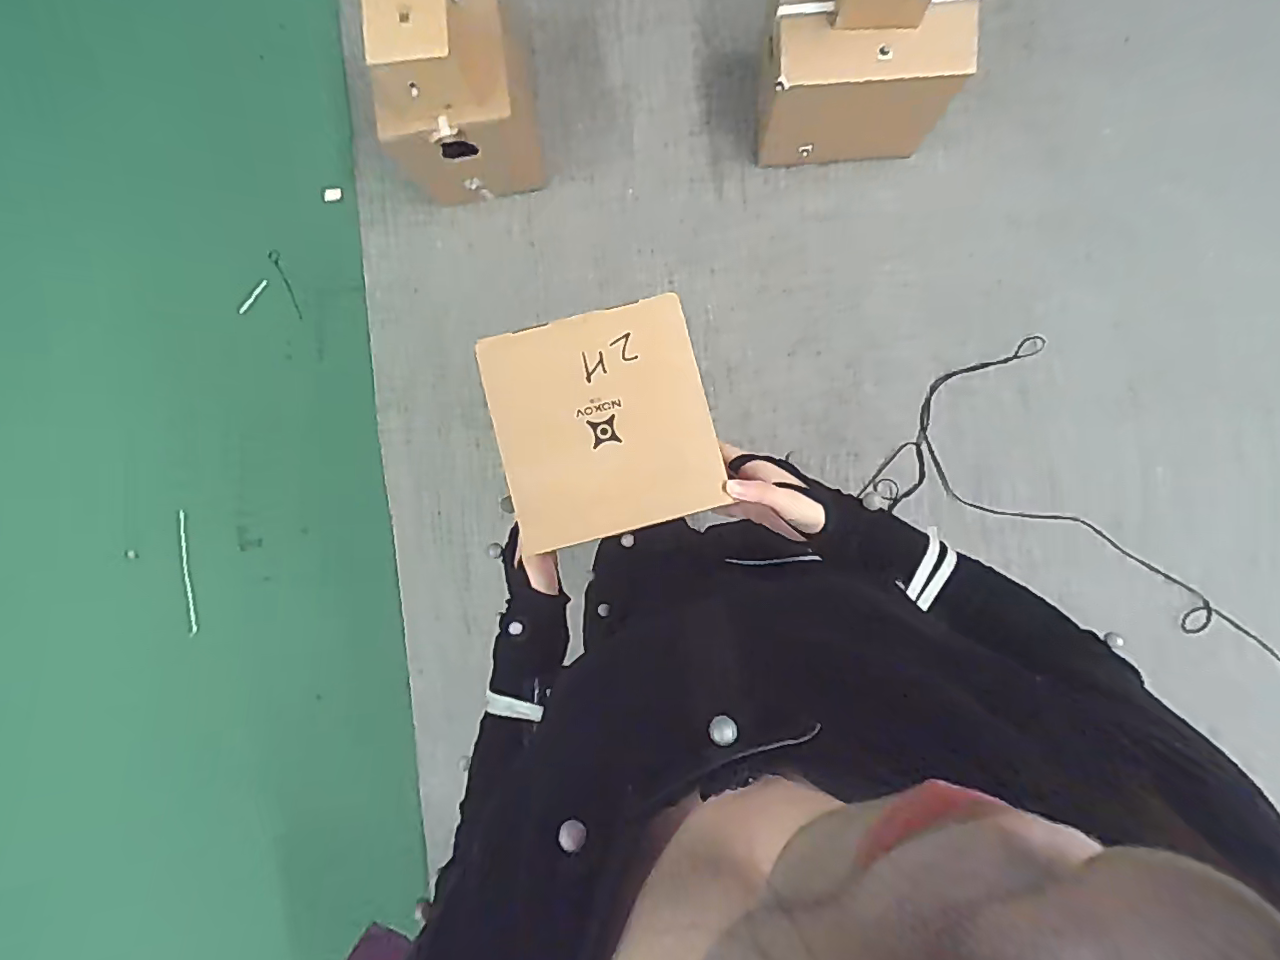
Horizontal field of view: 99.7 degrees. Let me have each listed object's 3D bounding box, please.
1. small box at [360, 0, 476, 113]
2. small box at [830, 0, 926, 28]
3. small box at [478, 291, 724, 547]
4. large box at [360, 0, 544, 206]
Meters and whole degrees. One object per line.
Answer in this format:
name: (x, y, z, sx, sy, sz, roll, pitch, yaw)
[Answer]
small box: (-0.446, -0.888, 1.108, 0.168, 0.176, 0.179, -3, 90, 4)
small box: (0.479, -1.013, 1.034, 0.179, 0.176, 0.168, 3, 89, 5)
small box: (-0.032, -0.044, 0.499, 0.168, 0.176, 0.179, -12, 86, -3)
large box: (-0.451, -0.978, 1.352, 0.320, 0.320, 0.408, -7, 90, 5)
